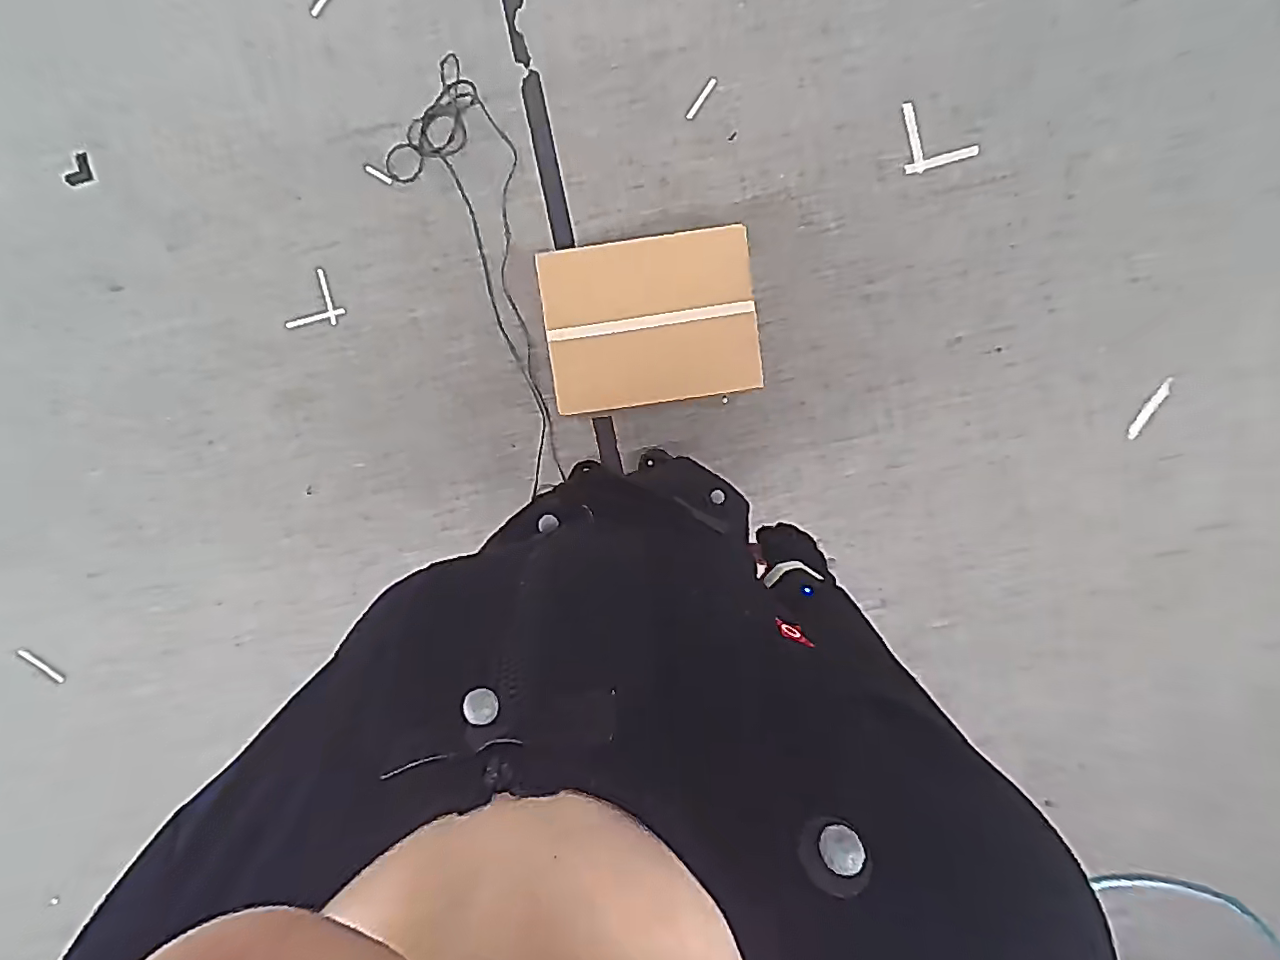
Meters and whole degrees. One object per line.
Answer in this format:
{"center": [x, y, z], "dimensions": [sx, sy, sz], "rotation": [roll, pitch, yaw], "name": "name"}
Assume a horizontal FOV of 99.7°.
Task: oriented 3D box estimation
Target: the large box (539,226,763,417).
{"center": [0.027, -0.319, 1.193], "dimensions": [0.408, 0.320, 0.320], "rotation": [-8, 94, 2], "name": "large box"}
